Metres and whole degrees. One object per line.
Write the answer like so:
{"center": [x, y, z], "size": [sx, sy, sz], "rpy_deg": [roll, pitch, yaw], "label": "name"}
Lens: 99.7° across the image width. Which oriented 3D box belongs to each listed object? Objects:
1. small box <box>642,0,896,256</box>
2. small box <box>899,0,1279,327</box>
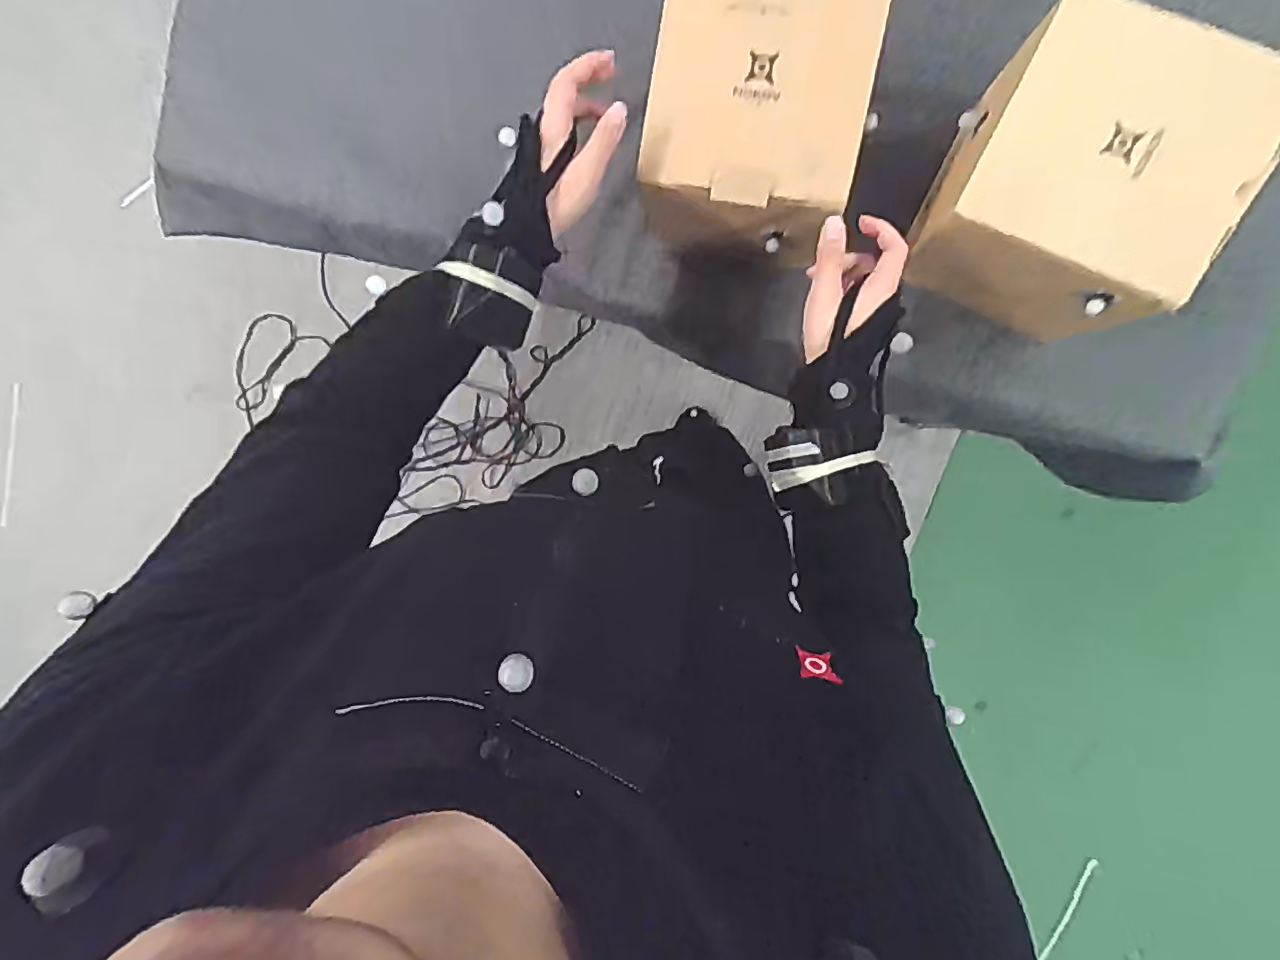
{"center": [0.105, -0.317, 0.481], "size": [0.168, 0.176, 0.179], "rpy_deg": [11, 97, 6], "label": "small box"}
{"center": [0.354, -0.245, 0.453], "size": [0.179, 0.176, 0.168], "rpy_deg": [26, 100, 4], "label": "small box"}
